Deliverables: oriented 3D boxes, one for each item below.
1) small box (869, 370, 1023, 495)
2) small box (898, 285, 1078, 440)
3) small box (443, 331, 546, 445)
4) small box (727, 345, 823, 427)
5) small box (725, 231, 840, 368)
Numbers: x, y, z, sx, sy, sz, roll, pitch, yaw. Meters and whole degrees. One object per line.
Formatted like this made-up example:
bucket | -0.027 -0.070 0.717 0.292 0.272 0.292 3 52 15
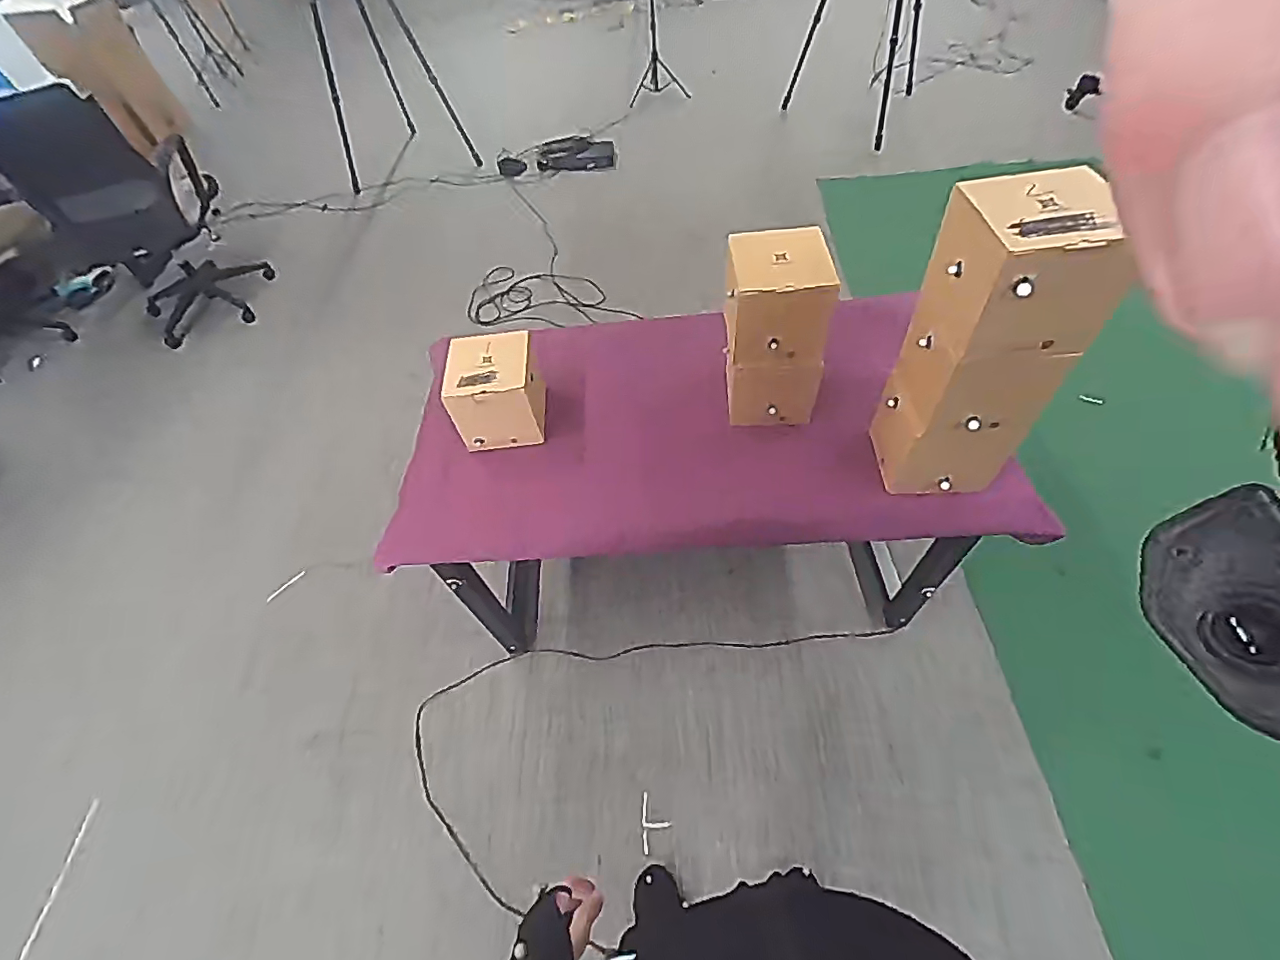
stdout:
small box | 0.542 -0.084 0.987 0.179 0.176 0.168 -1 53 6
small box | 0.529 -0.182 0.858 0.168 0.176 0.179 -2 53 7
small box | -0.298 -0.187 1.147 0.168 0.176 0.179 -6 54 1
small box | 0.270 -0.229 1.121 0.168 0.176 0.179 -1 55 6
small box | 0.249 -0.327 0.992 0.168 0.176 0.179 -3 55 3
